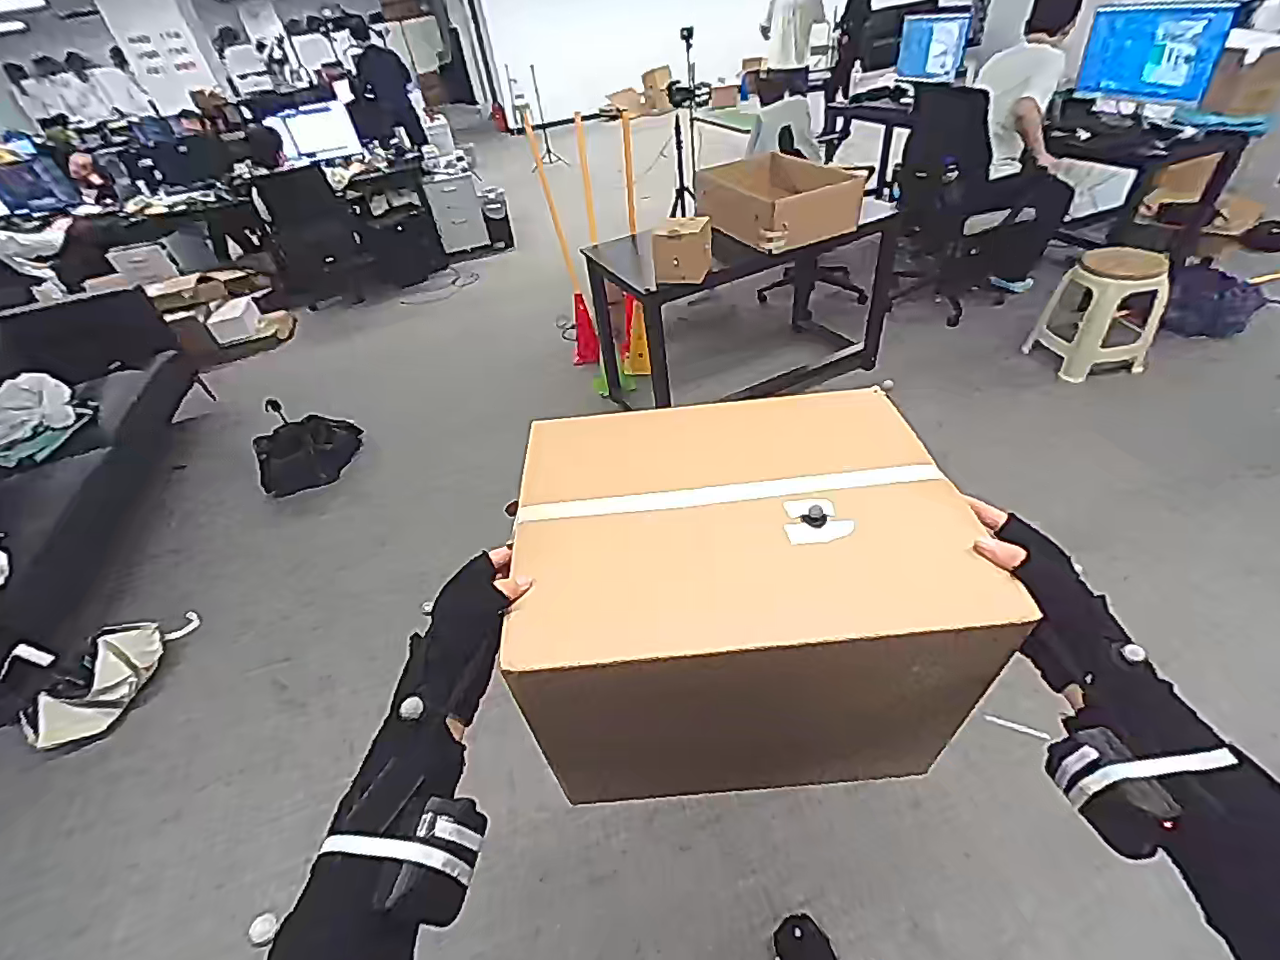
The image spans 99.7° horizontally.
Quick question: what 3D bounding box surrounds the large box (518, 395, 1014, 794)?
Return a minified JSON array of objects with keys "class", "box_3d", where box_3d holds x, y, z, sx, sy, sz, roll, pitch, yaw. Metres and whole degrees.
[{"class":"large box","box_3d":[0.097,0.129,0.629,0.408,0.320,0.320,-5,43,0]}]
